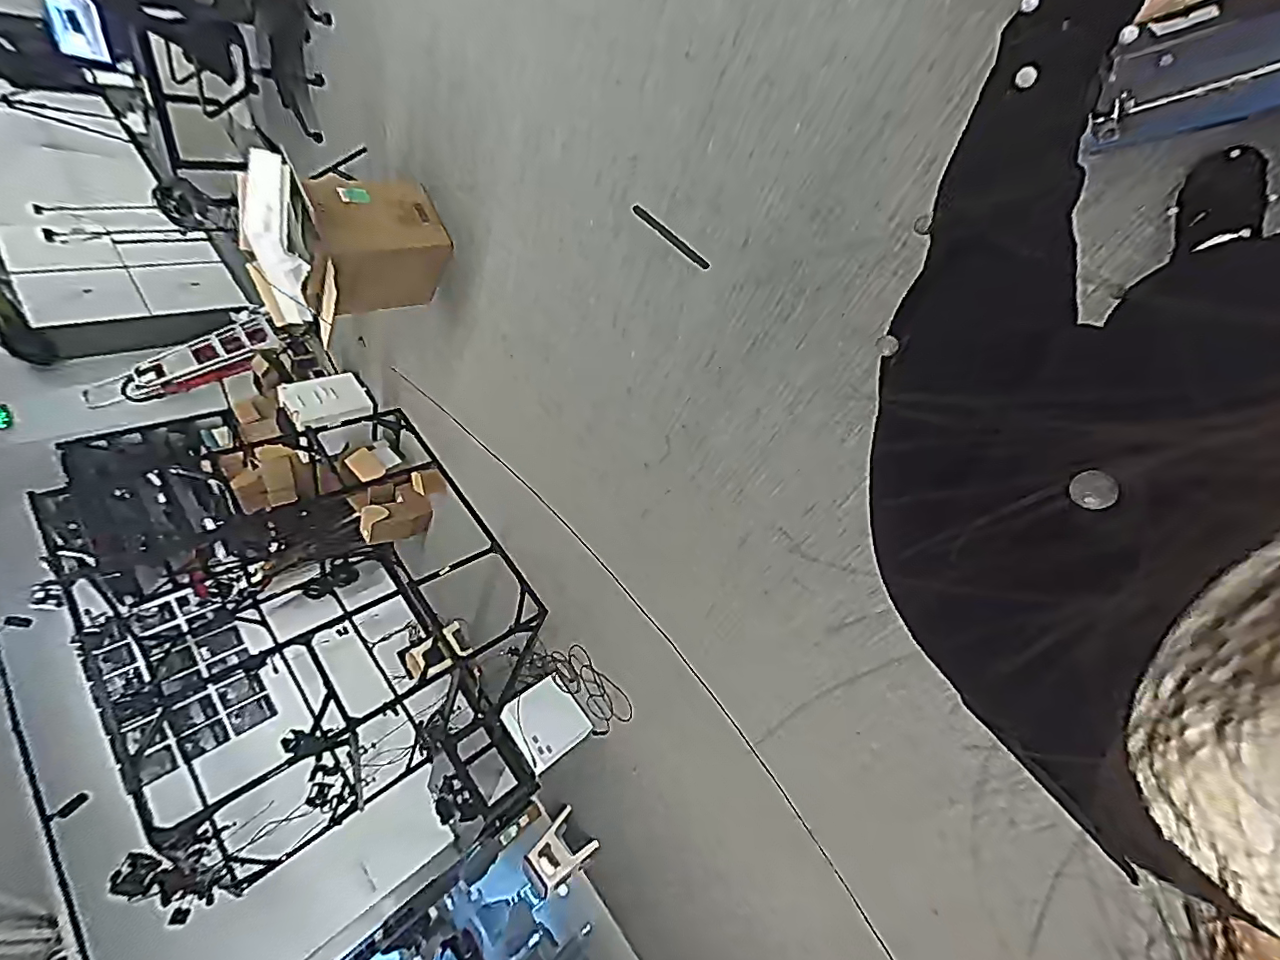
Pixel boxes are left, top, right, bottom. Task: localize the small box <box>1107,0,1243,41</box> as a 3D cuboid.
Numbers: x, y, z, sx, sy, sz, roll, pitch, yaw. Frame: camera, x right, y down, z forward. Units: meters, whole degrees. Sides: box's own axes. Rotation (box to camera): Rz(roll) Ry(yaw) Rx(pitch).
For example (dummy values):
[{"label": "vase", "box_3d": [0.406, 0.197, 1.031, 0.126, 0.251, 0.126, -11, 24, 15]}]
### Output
[{"label": "small box", "box_3d": [0.763, -0.746, 0.744, 0.168, 0.176, 0.179, 3, 112, 46]}]
